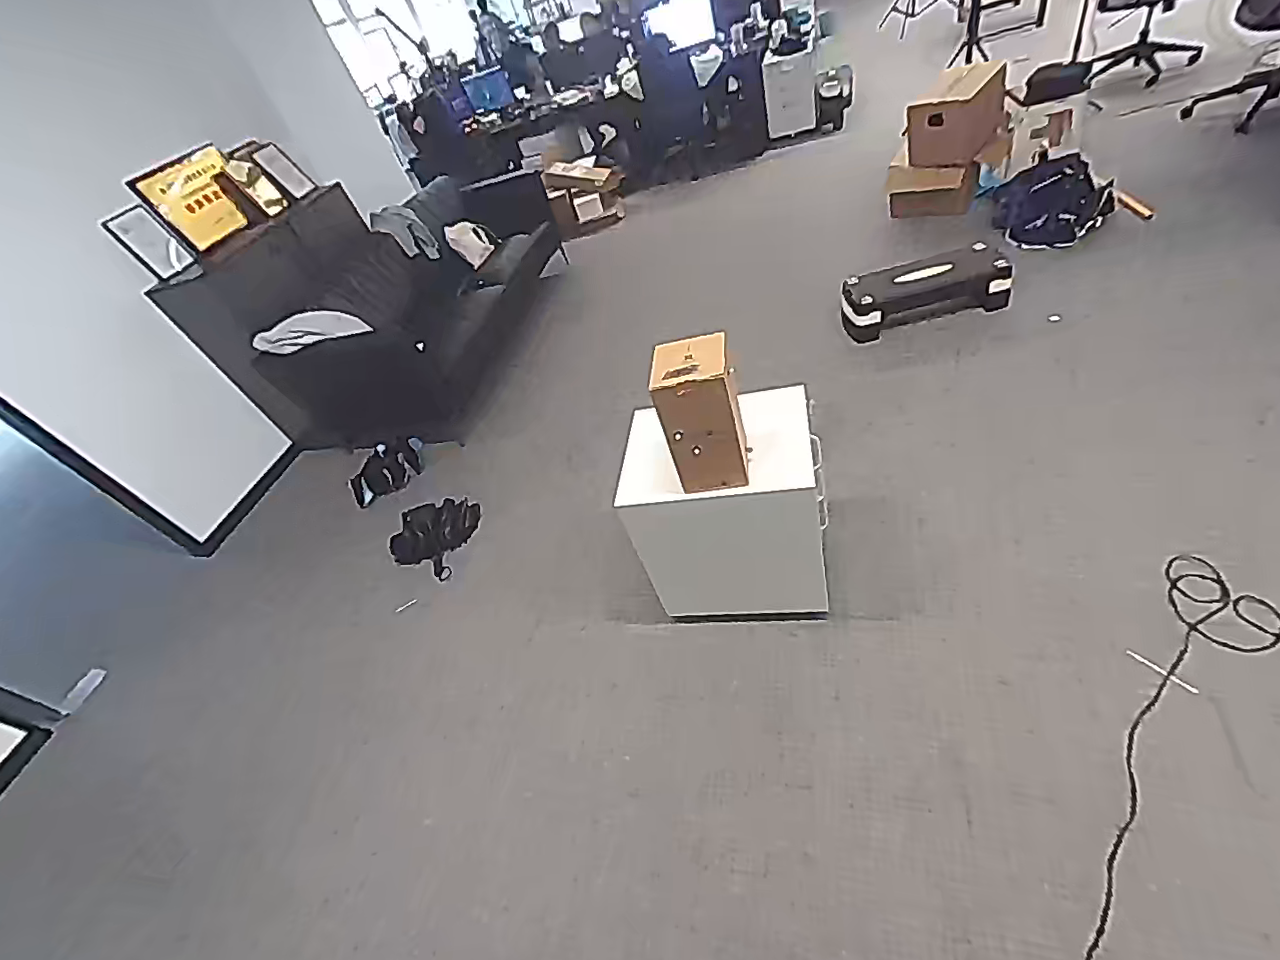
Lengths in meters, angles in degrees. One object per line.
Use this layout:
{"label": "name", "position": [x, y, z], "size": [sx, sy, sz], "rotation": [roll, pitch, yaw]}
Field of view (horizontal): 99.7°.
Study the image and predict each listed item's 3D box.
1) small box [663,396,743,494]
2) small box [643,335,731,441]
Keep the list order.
{"label": "small box", "position": [0.161, -0.089, 1.355], "size": [0.168, 0.176, 0.179], "rotation": [-9, 42, 15]}
{"label": "small box", "position": [0.114, -0.204, 1.246], "size": [0.168, 0.176, 0.179], "rotation": [-8, 42, 15]}
